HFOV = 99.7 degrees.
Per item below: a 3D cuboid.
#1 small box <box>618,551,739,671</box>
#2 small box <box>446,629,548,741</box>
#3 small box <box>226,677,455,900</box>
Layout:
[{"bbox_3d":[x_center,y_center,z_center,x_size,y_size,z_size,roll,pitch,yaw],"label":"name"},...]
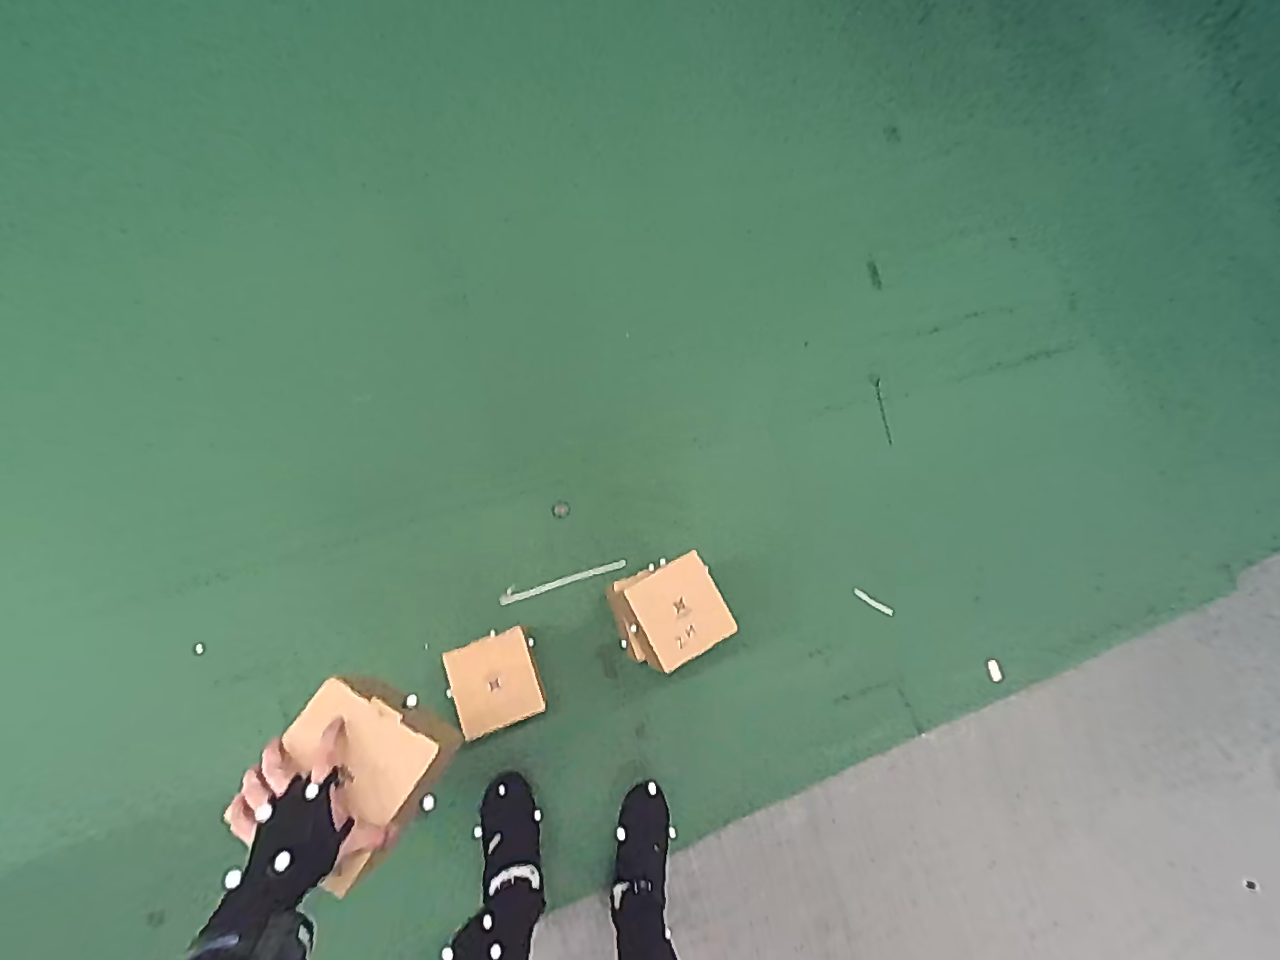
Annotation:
[{"bbox_3d":[0.067,0.266,1.102,0.168,0.176,0.179,-26,81,-14],"label":"small box"},{"bbox_3d":[-0.302,0.433,1.174,0.168,0.176,0.179,-18,77,-13],"label":"small box"},{"bbox_3d":[-0.361,0.378,0.699,0.168,0.176,0.179,30,69,6],"label":"small box"}]
